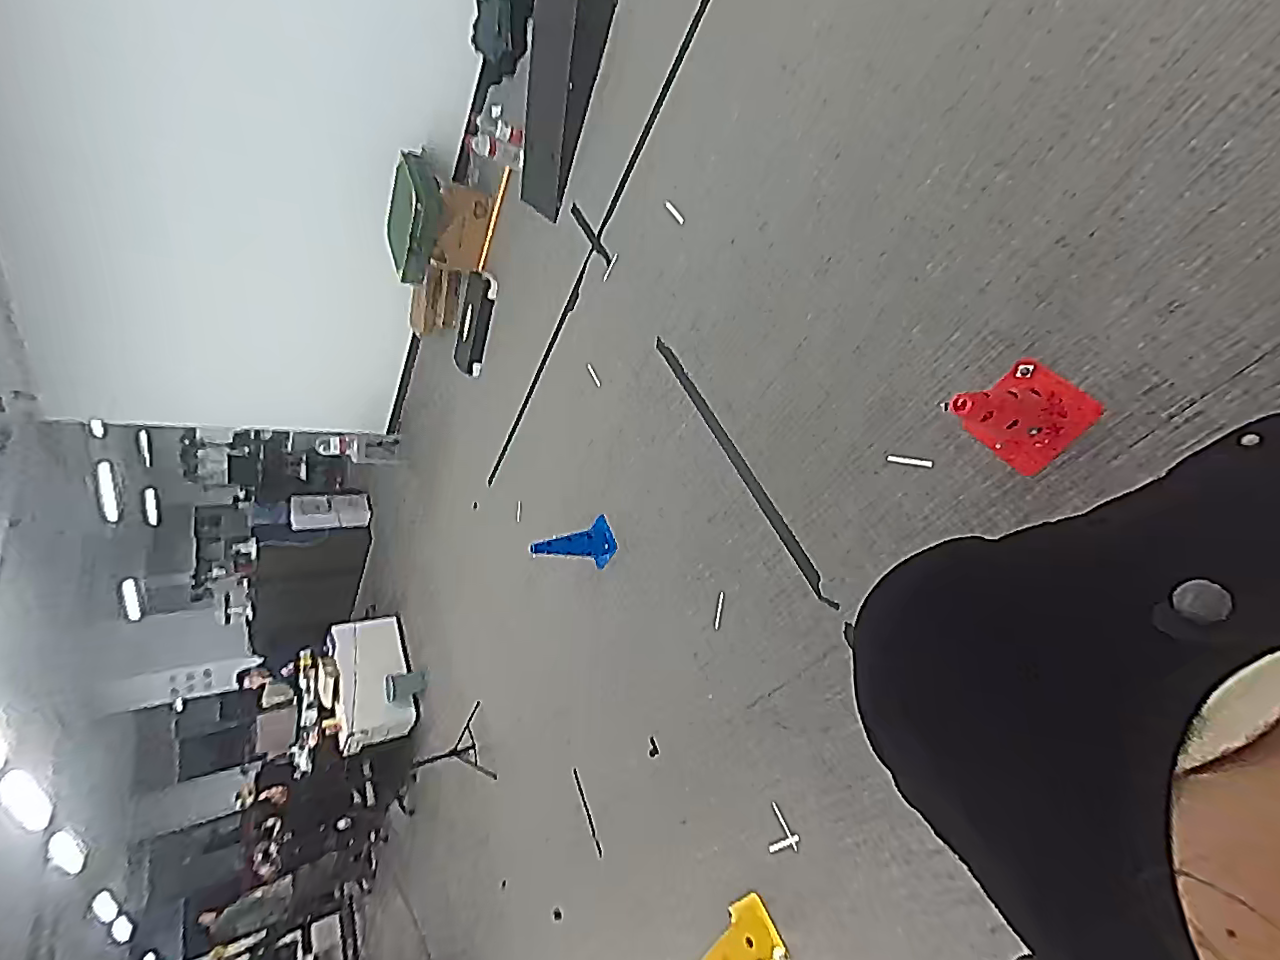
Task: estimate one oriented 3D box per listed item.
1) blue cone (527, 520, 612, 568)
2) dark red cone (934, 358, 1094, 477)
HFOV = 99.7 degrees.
[{"bbox_3d":[-0.325,0.303,2.441,0.192,0.380,0.193,-54,50,39],"label":"blue cone"},{"bbox_3d":[0.692,-0.131,1.070,0.202,0.394,0.201,56,133,35],"label":"dark red cone"}]
